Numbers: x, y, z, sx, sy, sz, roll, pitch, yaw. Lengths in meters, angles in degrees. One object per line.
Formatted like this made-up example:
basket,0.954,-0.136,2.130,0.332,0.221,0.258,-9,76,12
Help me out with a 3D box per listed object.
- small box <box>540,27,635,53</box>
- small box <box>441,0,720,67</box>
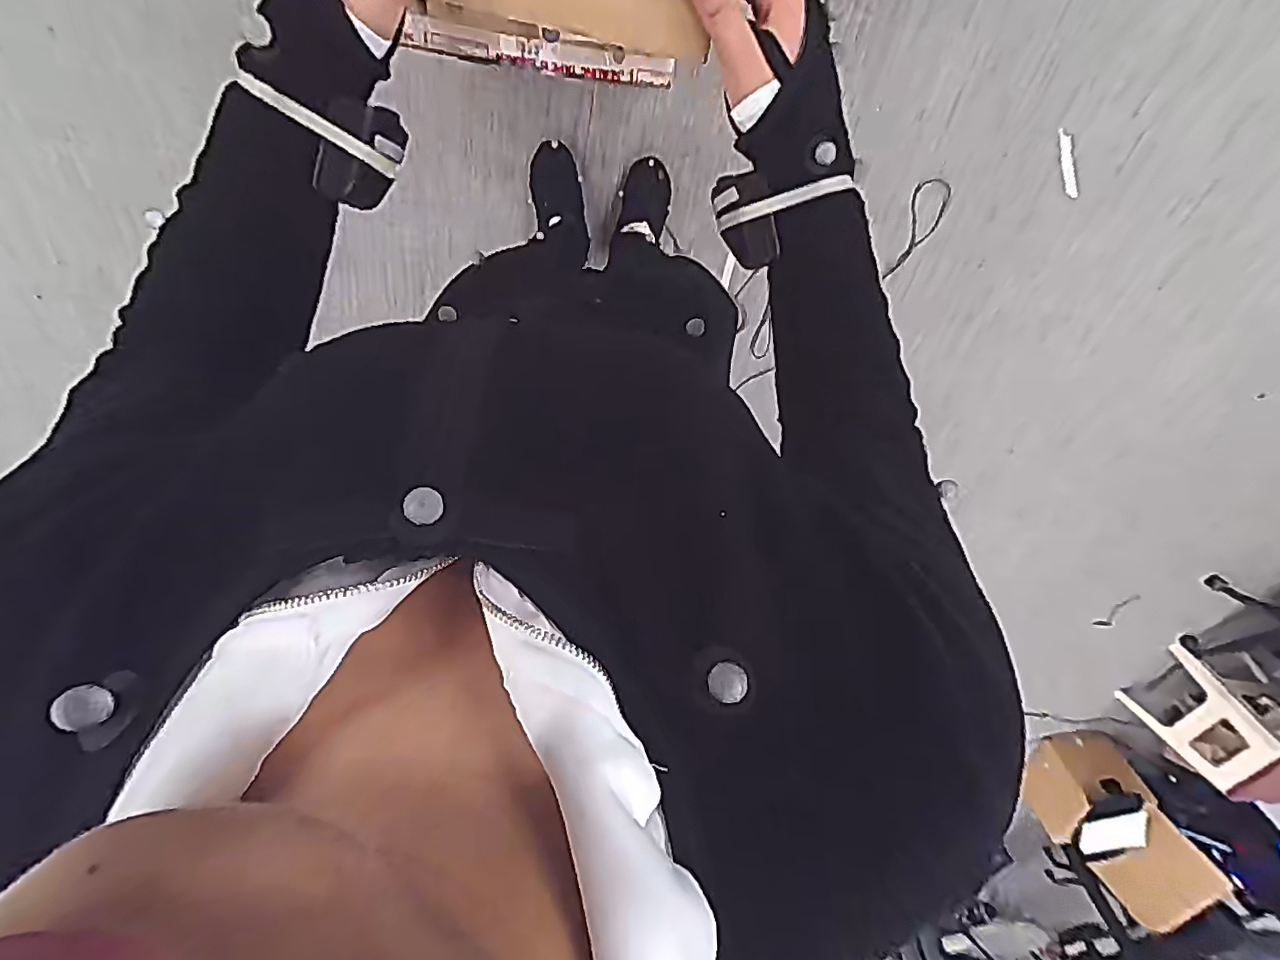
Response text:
small box,-0.020,-0.588,0.606,0.179,0.176,0.168,2,128,-5
small box,-0.031,-0.386,0.326,0.179,0.176,0.168,5,139,-11
